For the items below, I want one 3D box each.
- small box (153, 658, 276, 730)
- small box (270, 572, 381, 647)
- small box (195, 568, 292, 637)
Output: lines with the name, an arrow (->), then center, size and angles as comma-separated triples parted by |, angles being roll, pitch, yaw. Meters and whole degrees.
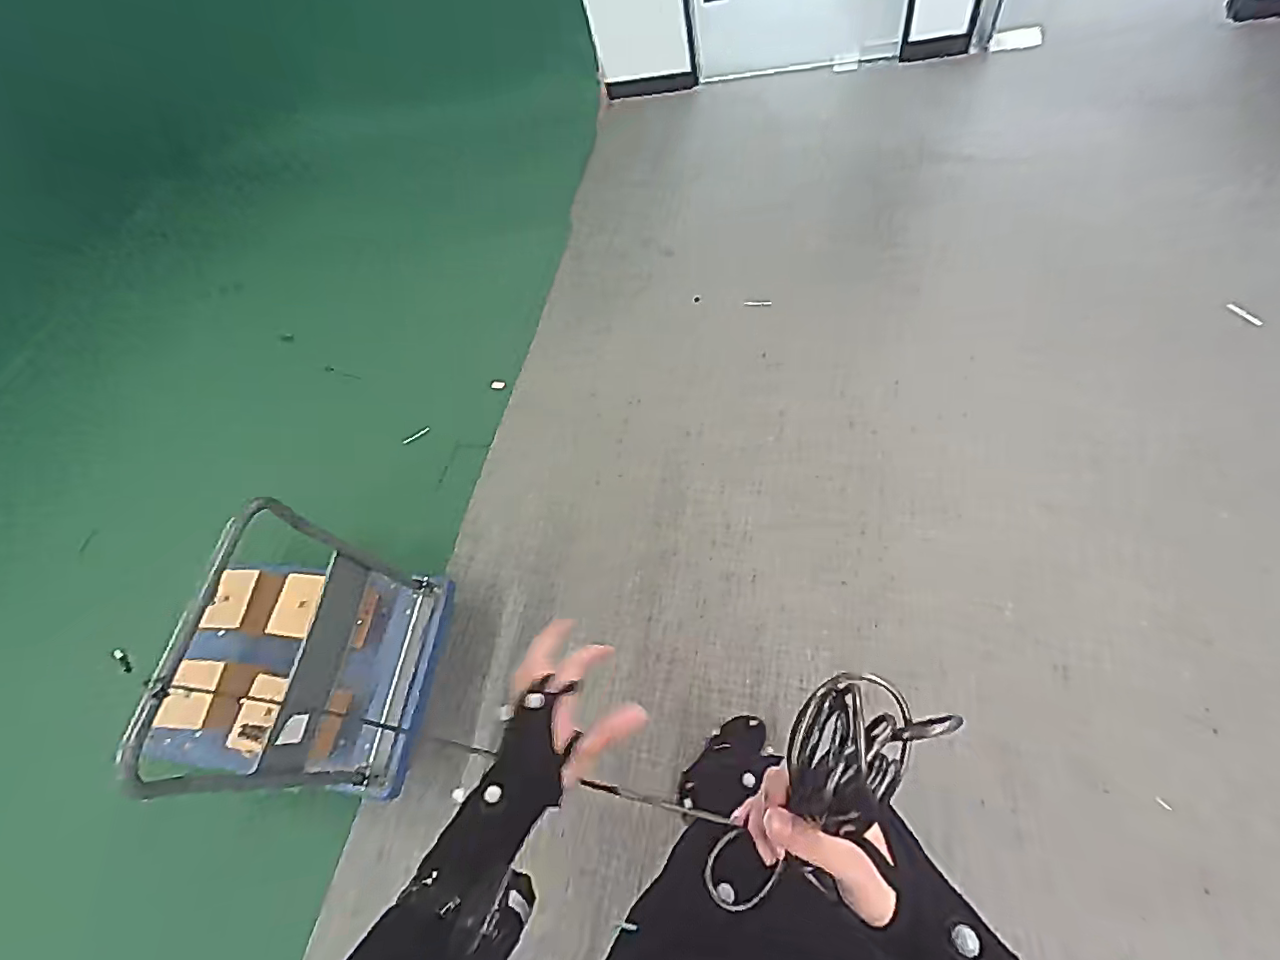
small box -> -1.157, 0.589, 1.486 | 0.179, 0.176, 0.168 | -2, 62, 14
small box -> -0.880, 0.369, 1.527 | 0.179, 0.176, 0.168 | 2, 64, 15
small box -> -1.141, 0.364, 1.597 | 0.179, 0.176, 0.168 | -2, 64, 13
